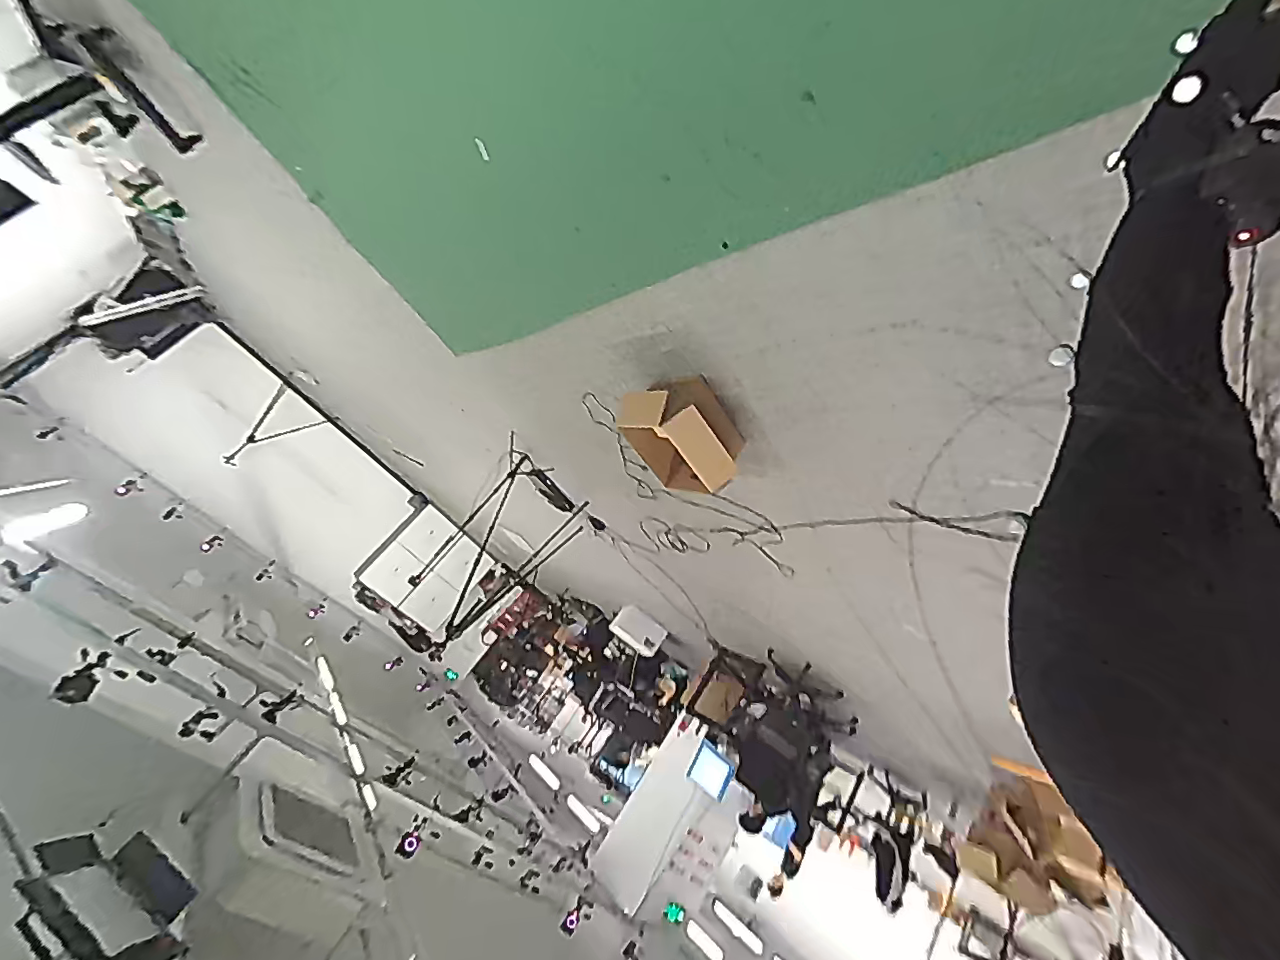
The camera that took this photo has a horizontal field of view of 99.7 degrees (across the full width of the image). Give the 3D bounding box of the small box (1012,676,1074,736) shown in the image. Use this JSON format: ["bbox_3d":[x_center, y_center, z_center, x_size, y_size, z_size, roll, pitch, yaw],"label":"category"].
[{"bbox_3d":[1.836,1.021,2.461,0.179,0.176,0.168,2,139,54],"label":"small box"}]
